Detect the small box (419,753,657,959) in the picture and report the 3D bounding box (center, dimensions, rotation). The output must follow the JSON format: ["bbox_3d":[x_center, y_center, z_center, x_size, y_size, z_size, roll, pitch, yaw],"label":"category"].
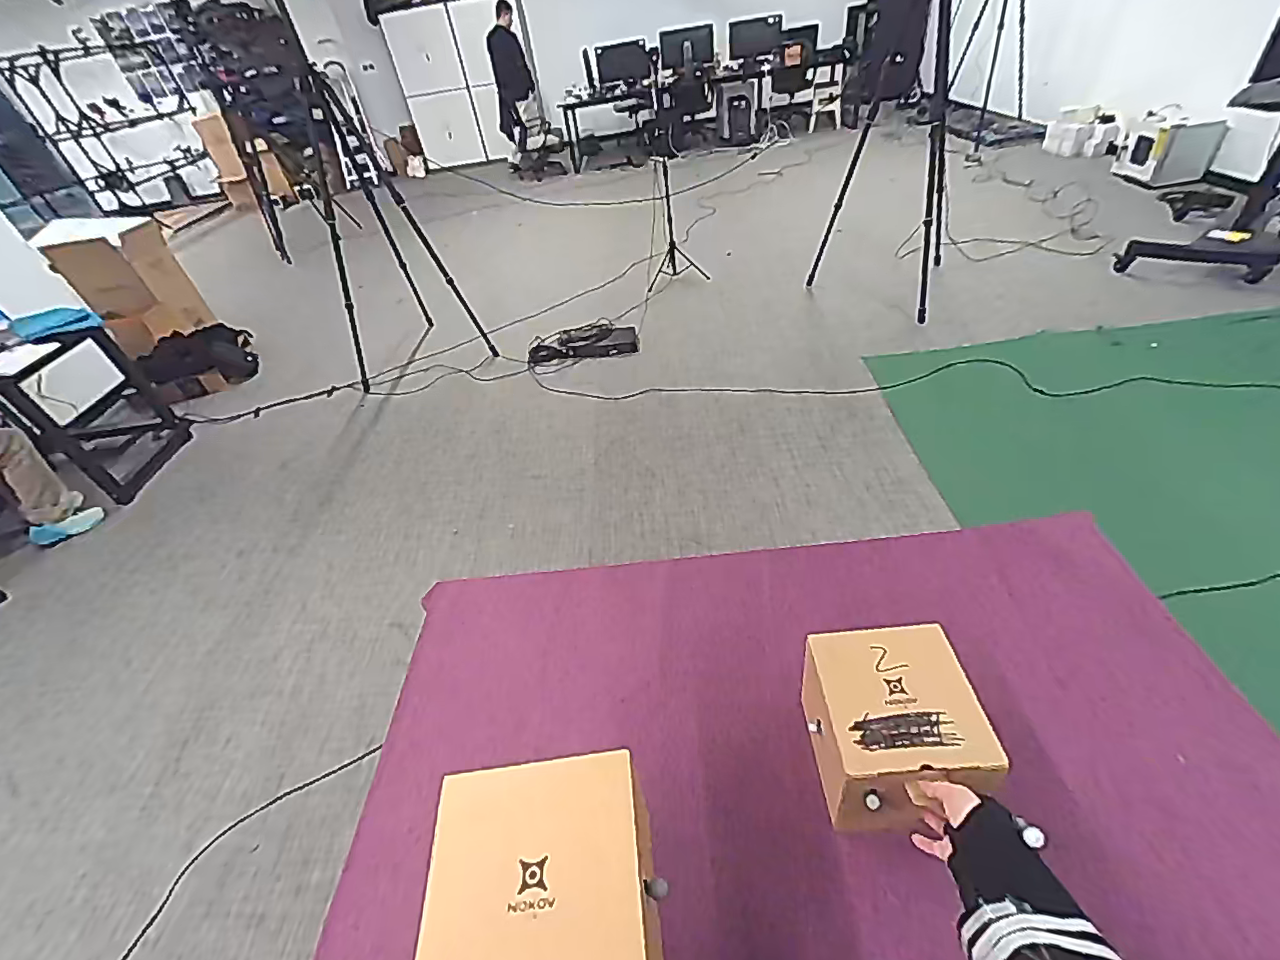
[{"bbox_3d":[-0.076,0.372,0.476,0.168,0.176,0.179,-8,43,0],"label":"small box"}]
